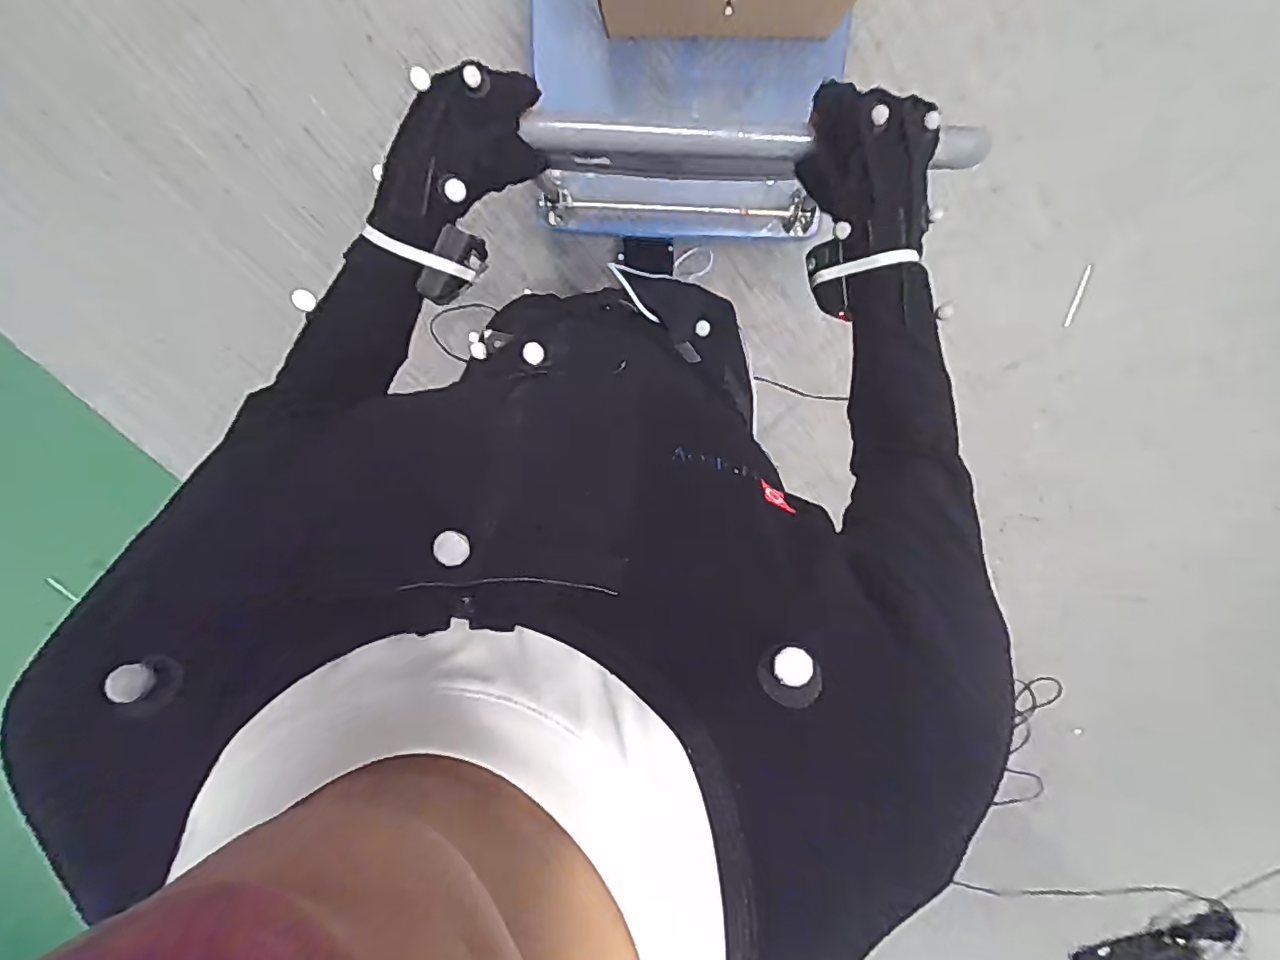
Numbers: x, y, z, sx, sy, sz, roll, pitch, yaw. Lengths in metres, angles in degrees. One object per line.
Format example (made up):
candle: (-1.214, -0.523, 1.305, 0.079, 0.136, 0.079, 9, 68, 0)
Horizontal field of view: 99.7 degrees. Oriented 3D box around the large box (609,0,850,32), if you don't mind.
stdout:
large box: (0.145, -0.904, 0.788, 0.408, 0.320, 0.320, 1, 111, 3)
